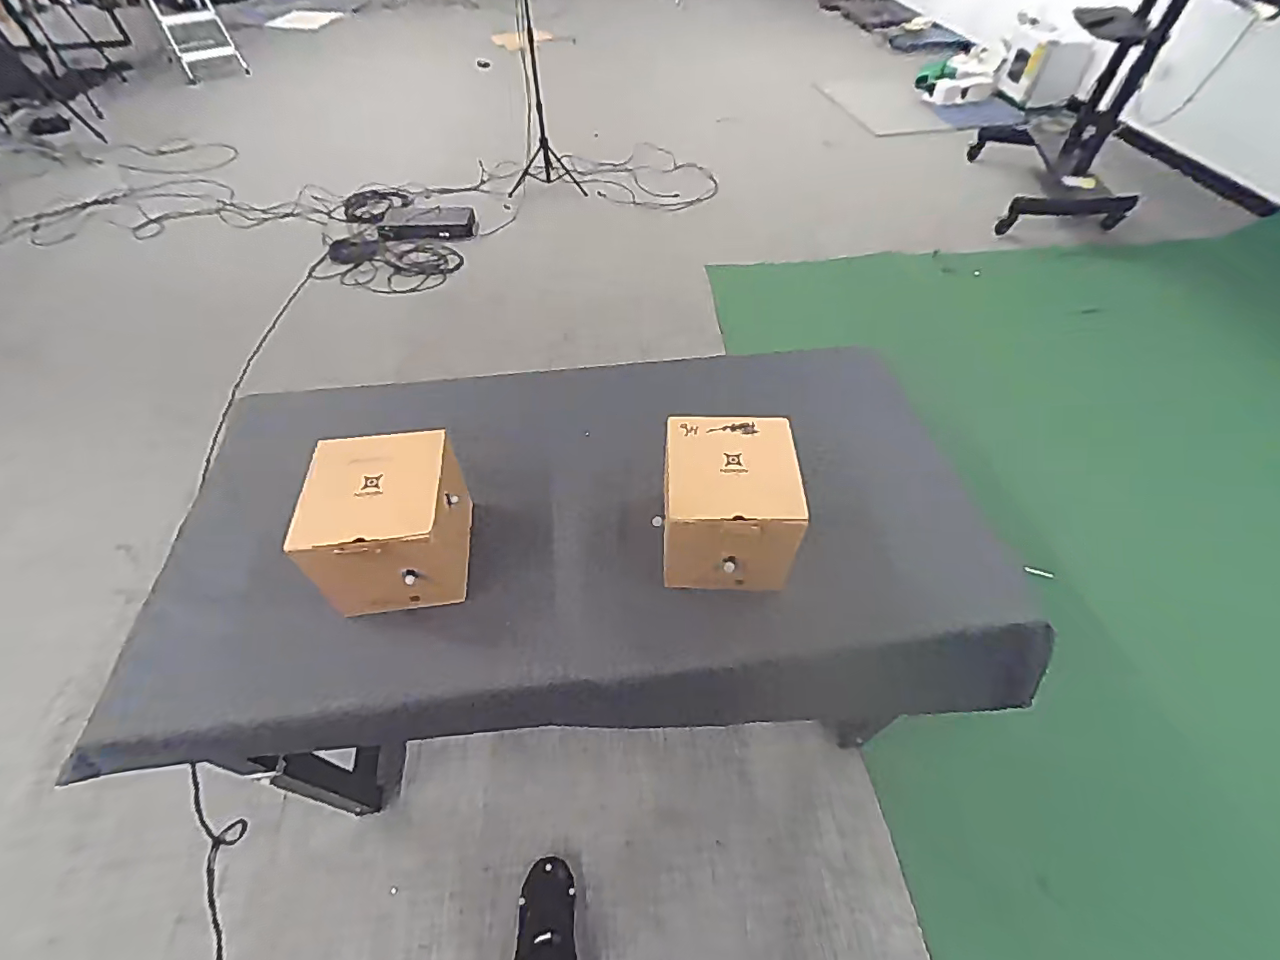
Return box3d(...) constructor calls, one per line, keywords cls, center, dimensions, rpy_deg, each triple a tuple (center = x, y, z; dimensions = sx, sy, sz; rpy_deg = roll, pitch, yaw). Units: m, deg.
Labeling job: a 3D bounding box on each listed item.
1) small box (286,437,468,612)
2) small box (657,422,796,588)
box3d(cls="small box", center=(-0.339, 0.067, 0.739), dimensions=(0.168, 0.176, 0.179), rpy_deg=(-6, 49, -6))
box3d(cls="small box", center=(0.109, 0.038, 0.755), dimensions=(0.168, 0.176, 0.179), rpy_deg=(1, 52, 1))
